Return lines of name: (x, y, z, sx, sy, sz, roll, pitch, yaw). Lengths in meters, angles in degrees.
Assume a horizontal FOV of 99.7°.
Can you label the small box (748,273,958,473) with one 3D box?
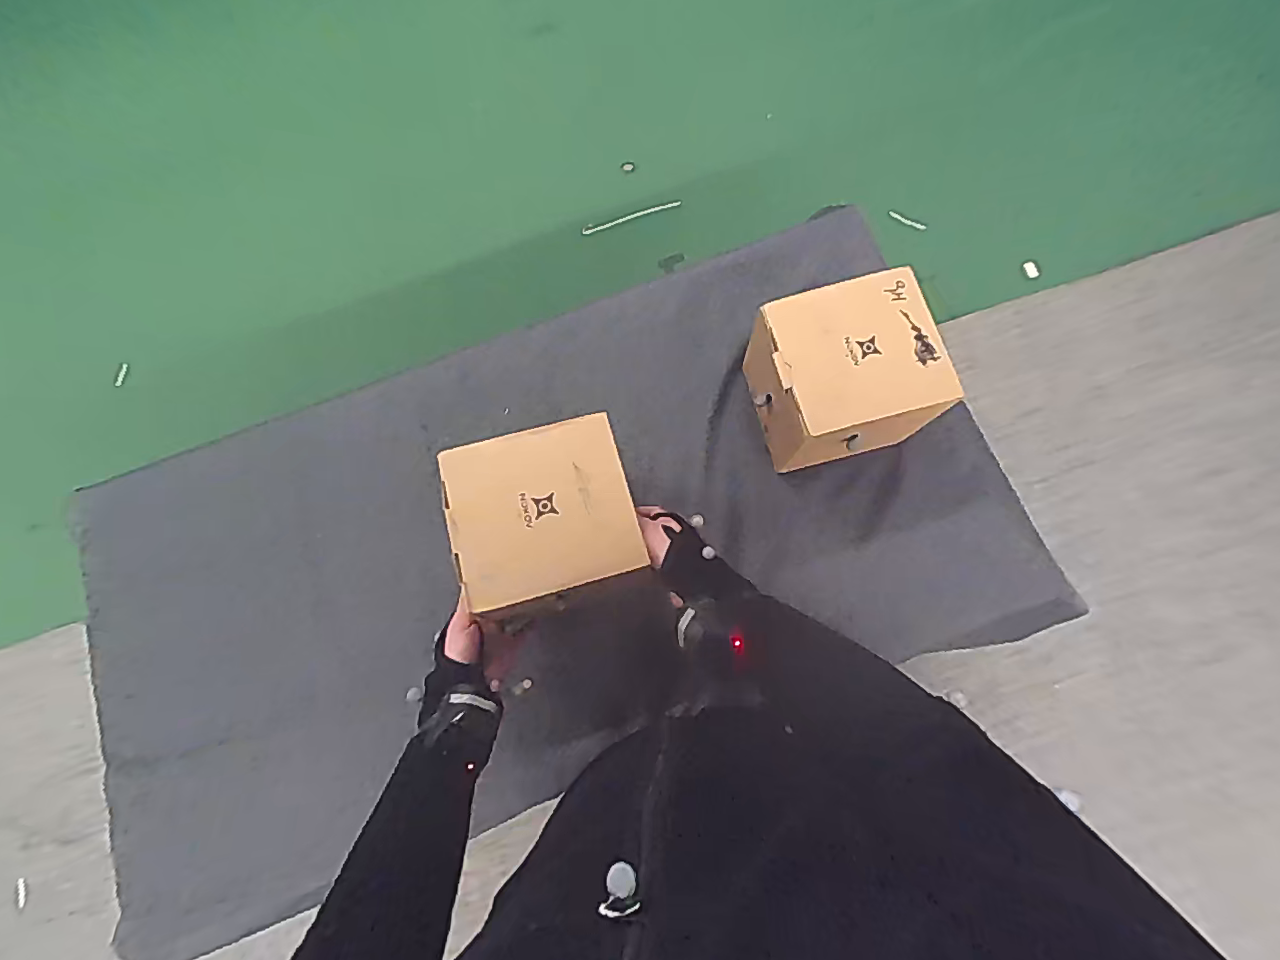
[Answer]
small box: (0.240, -0.118, 0.667, 0.179, 0.176, 0.168, -14, 77, 0)
